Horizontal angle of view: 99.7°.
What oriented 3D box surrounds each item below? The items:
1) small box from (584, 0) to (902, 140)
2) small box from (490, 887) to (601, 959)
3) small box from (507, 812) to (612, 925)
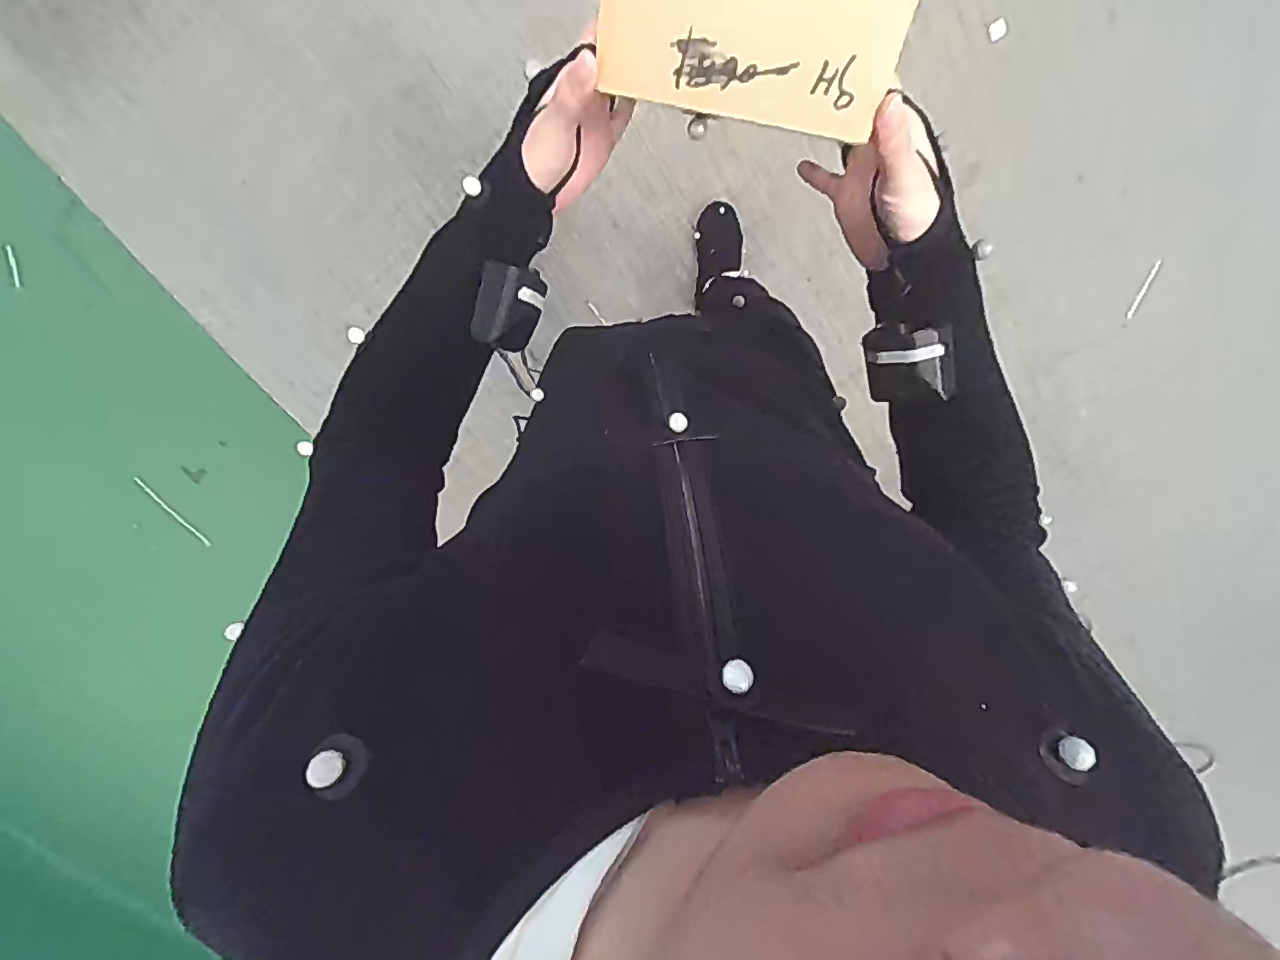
[{"bbox_3d":[0.070,-0.329,0.333,0.168,0.176,0.179,12,125,2],"label":"small box"},{"bbox_3d":[-0.200,0.993,1.135,0.168,0.176,0.179,-31,111,16],"label":"small box"},{"bbox_3d":[-0.181,0.937,1.288,0.168,0.176,0.179,-29,110,16],"label":"small box"}]
